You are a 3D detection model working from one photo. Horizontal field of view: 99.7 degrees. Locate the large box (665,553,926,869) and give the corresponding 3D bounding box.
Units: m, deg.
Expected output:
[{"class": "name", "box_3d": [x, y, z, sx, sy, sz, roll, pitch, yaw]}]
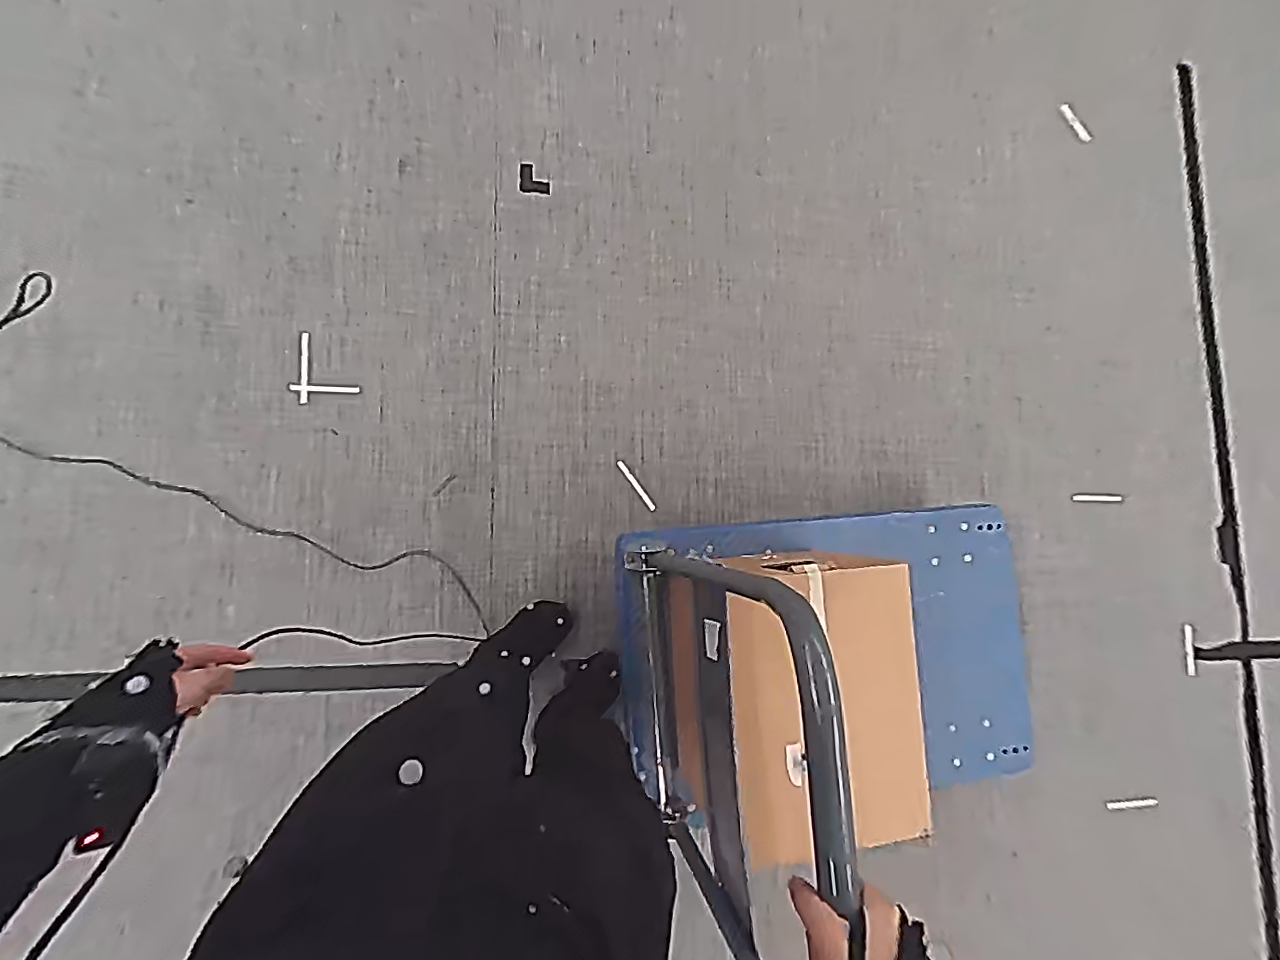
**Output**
[{"class": "large box", "box_3d": [0.239, 0.349, 0.940, 0.320, 0.320, 0.408, -3, 87, -10]}]
